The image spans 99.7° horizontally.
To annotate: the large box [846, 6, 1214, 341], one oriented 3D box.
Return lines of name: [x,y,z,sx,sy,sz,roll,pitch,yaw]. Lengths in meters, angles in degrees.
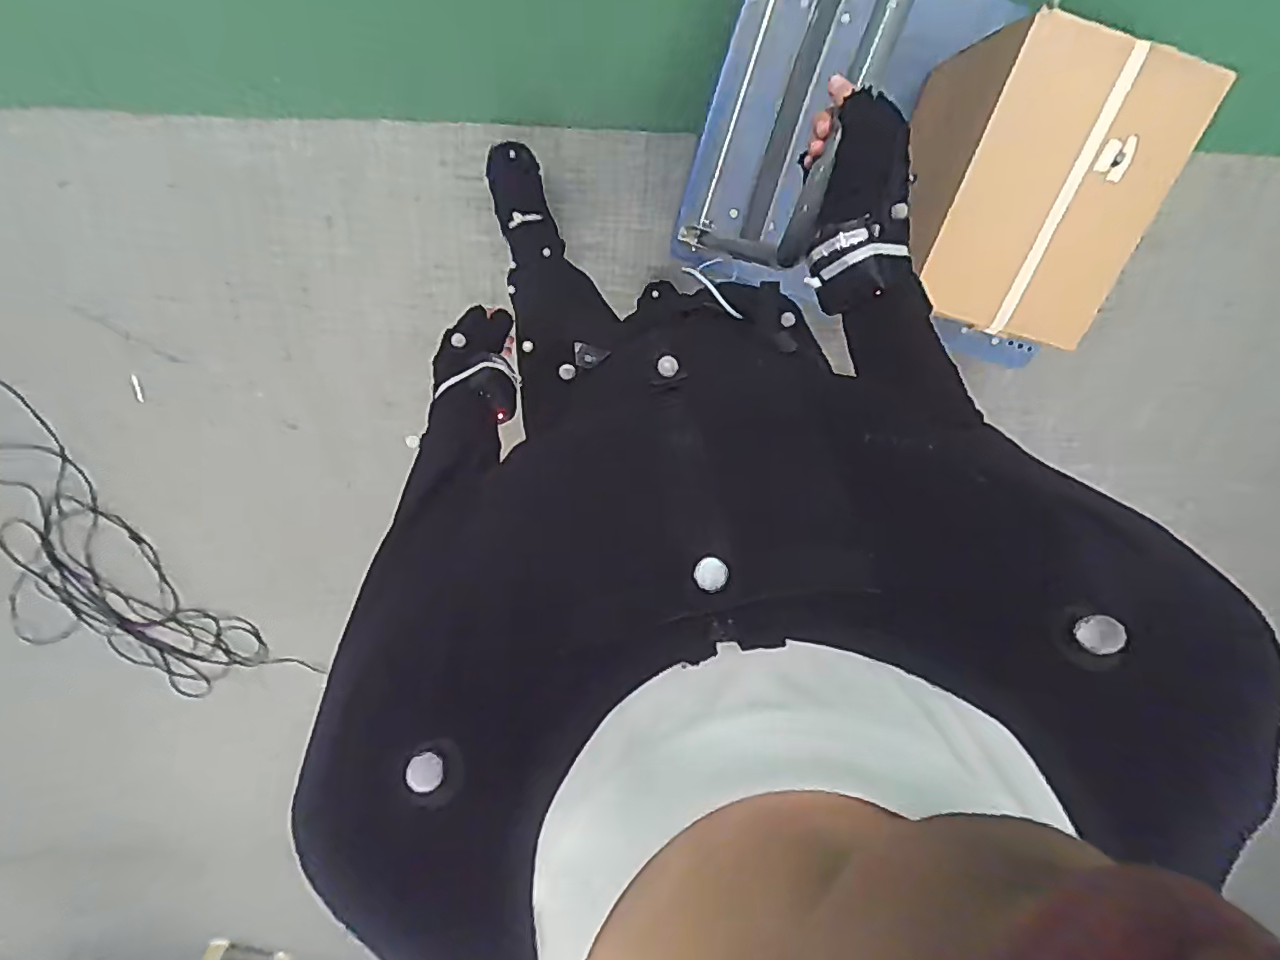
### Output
large box: [0.631,-0.501,0.971,0.320,0.320,0.408,13,112,-7]
